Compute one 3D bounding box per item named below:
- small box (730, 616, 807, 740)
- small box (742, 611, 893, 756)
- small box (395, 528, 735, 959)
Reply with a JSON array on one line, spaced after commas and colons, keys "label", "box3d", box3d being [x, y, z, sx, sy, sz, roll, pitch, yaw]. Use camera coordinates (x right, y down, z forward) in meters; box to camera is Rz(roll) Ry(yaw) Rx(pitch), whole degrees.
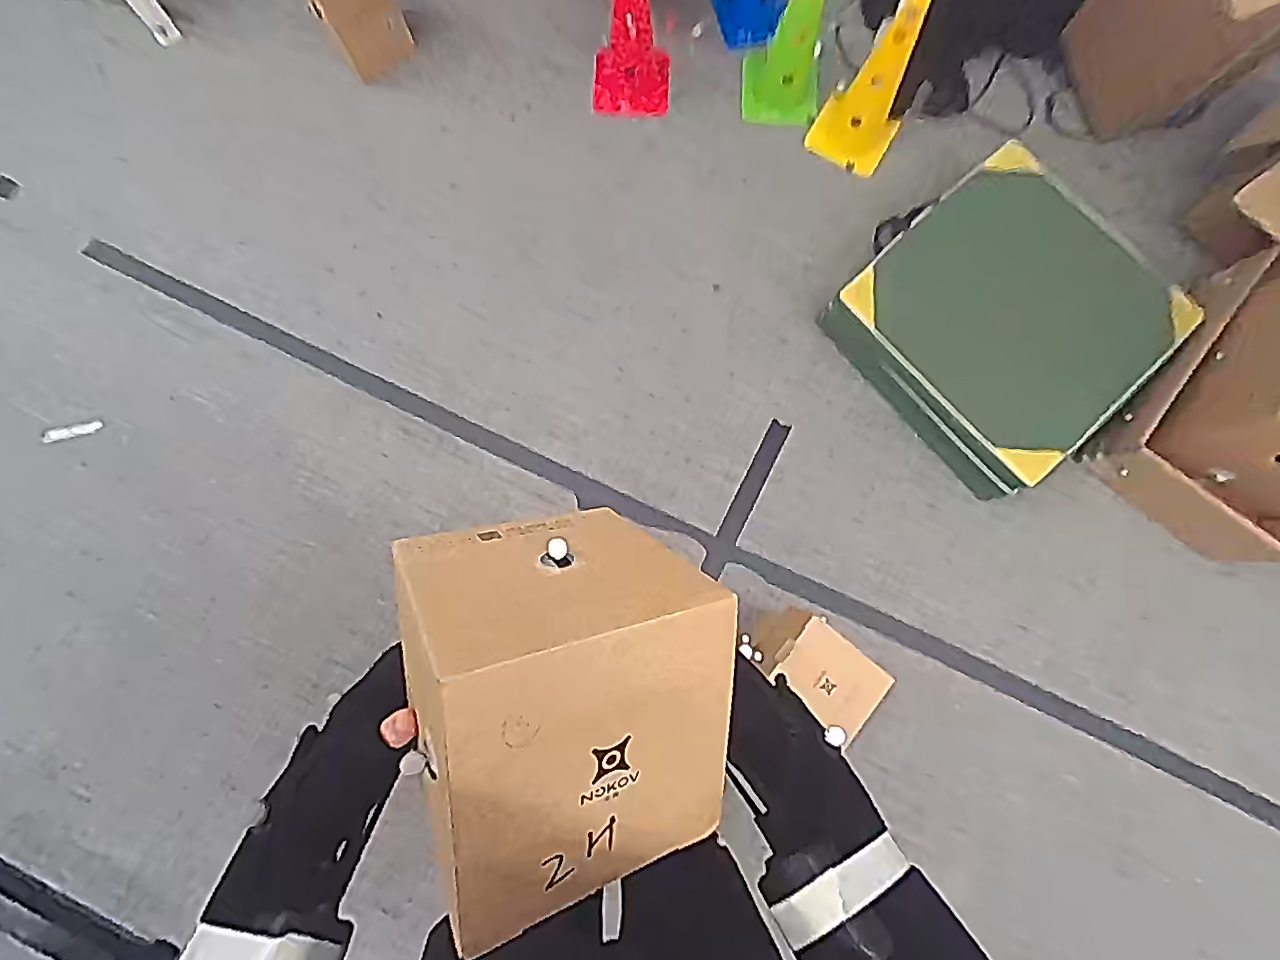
[{"label": "small box", "box3d": [0.300, 0.408, 1.151, 0.179, 0.176, 0.168, 42, 83, 4]}, {"label": "small box", "box3d": [0.312, 0.357, 0.992, 0.179, 0.176, 0.168, 40, 83, 4]}, {"label": "small box", "box3d": [-0.063, 0.139, 0.354, 0.168, 0.176, 0.179, -3, 109, -28]}]
